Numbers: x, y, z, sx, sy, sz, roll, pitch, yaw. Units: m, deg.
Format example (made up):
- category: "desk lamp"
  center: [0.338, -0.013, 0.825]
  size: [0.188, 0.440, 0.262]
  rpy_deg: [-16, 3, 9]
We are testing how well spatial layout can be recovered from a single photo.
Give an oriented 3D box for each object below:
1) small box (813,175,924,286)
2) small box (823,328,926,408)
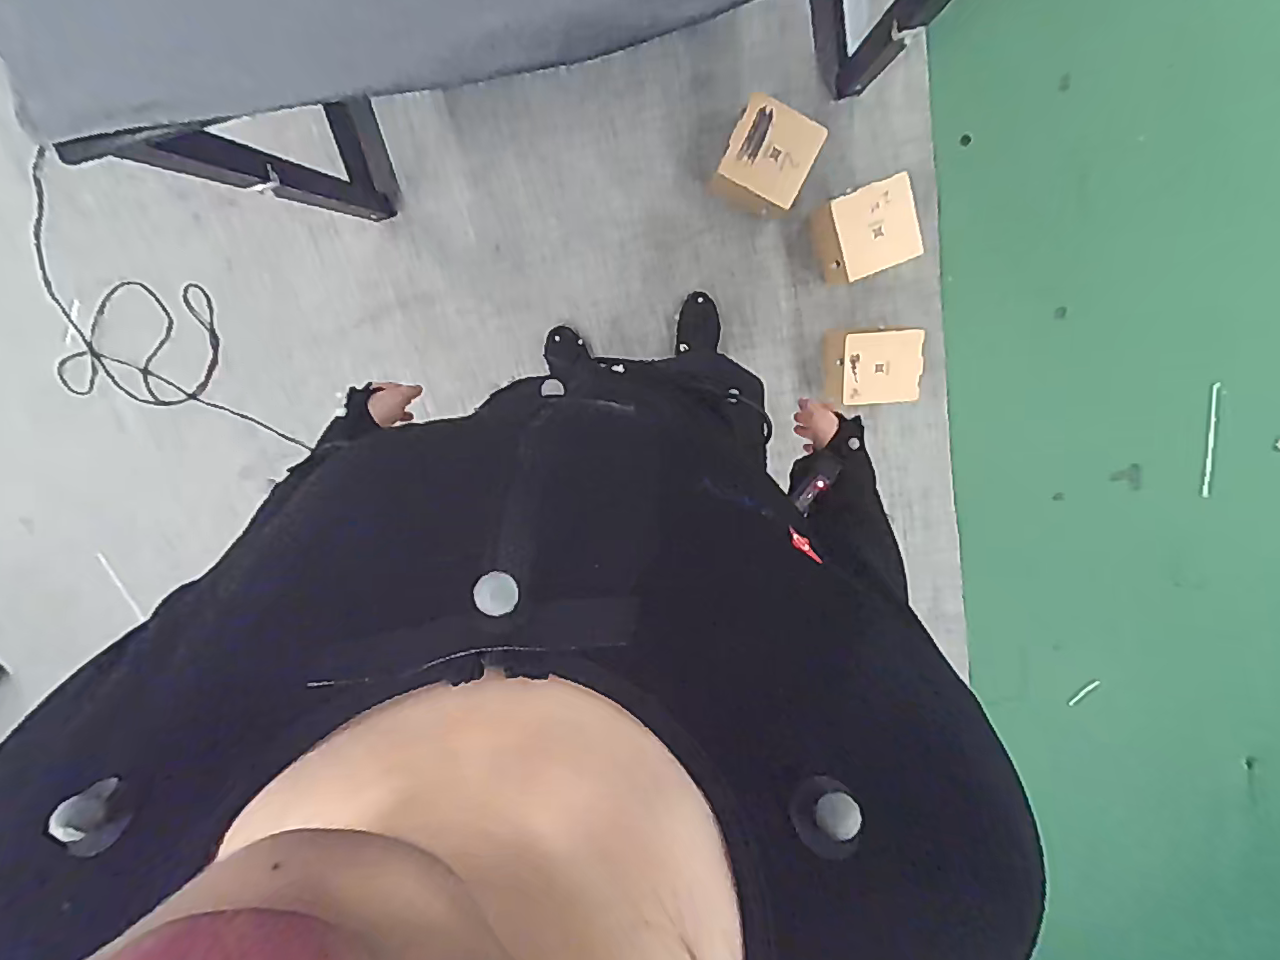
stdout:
- category: "small box"
  center: [0.509, -0.553, 1.221]
  size: [0.168, 0.176, 0.179]
  rpy_deg: [-19, 107, 8]
- category: "small box"
  center: [0.561, -0.277, 1.313]
  size: [0.179, 0.176, 0.168]
  rpy_deg: [-3, 110, 4]
